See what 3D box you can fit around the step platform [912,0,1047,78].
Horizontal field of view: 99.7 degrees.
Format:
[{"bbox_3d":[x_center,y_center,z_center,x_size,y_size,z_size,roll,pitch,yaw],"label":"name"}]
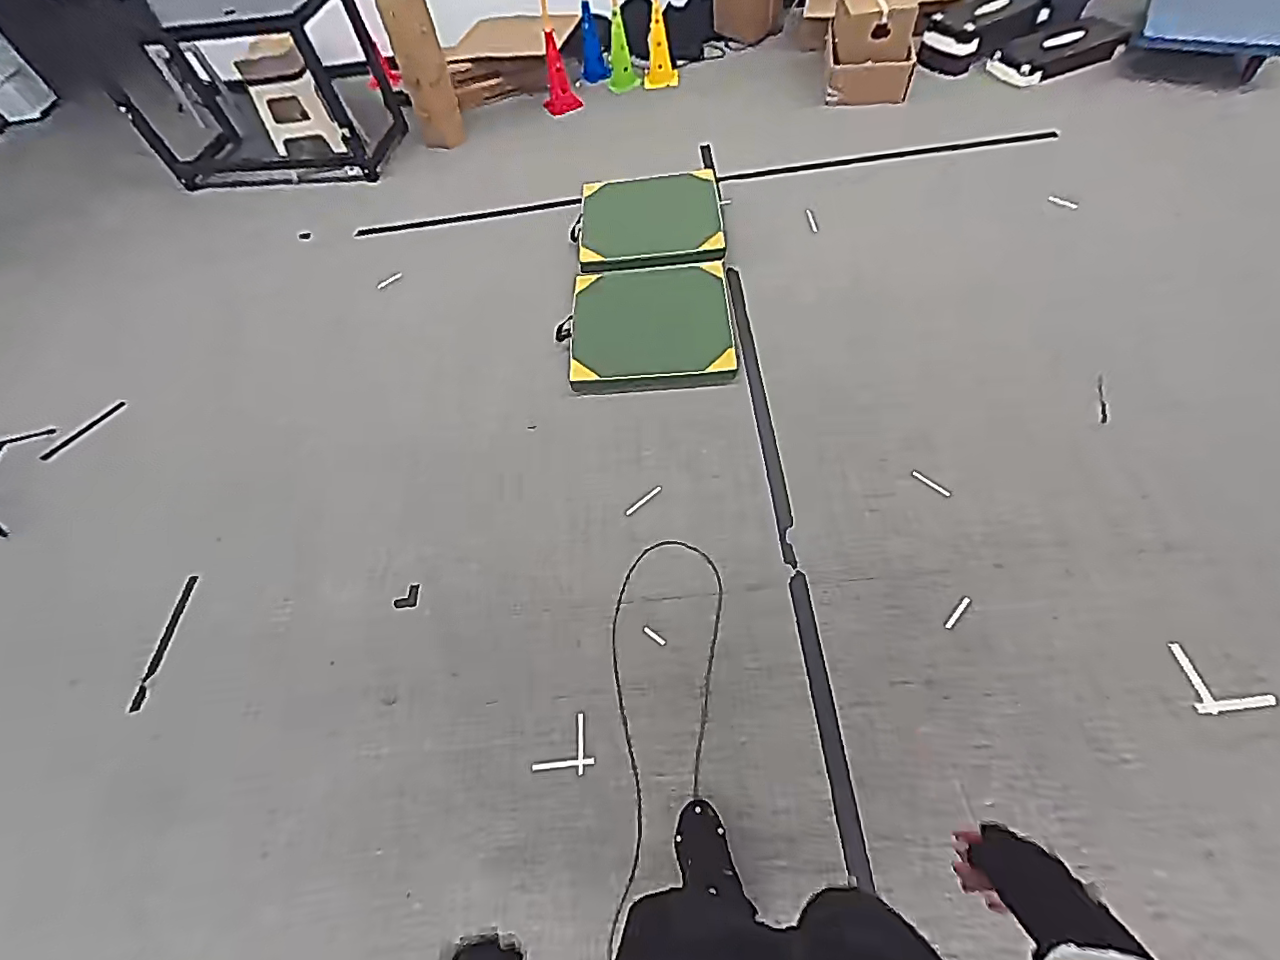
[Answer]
[{"bbox_3d":[1.841,-2.433,2.931,0.684,0.204,0.286,-31,60,-12],"label":"step platform"}]
